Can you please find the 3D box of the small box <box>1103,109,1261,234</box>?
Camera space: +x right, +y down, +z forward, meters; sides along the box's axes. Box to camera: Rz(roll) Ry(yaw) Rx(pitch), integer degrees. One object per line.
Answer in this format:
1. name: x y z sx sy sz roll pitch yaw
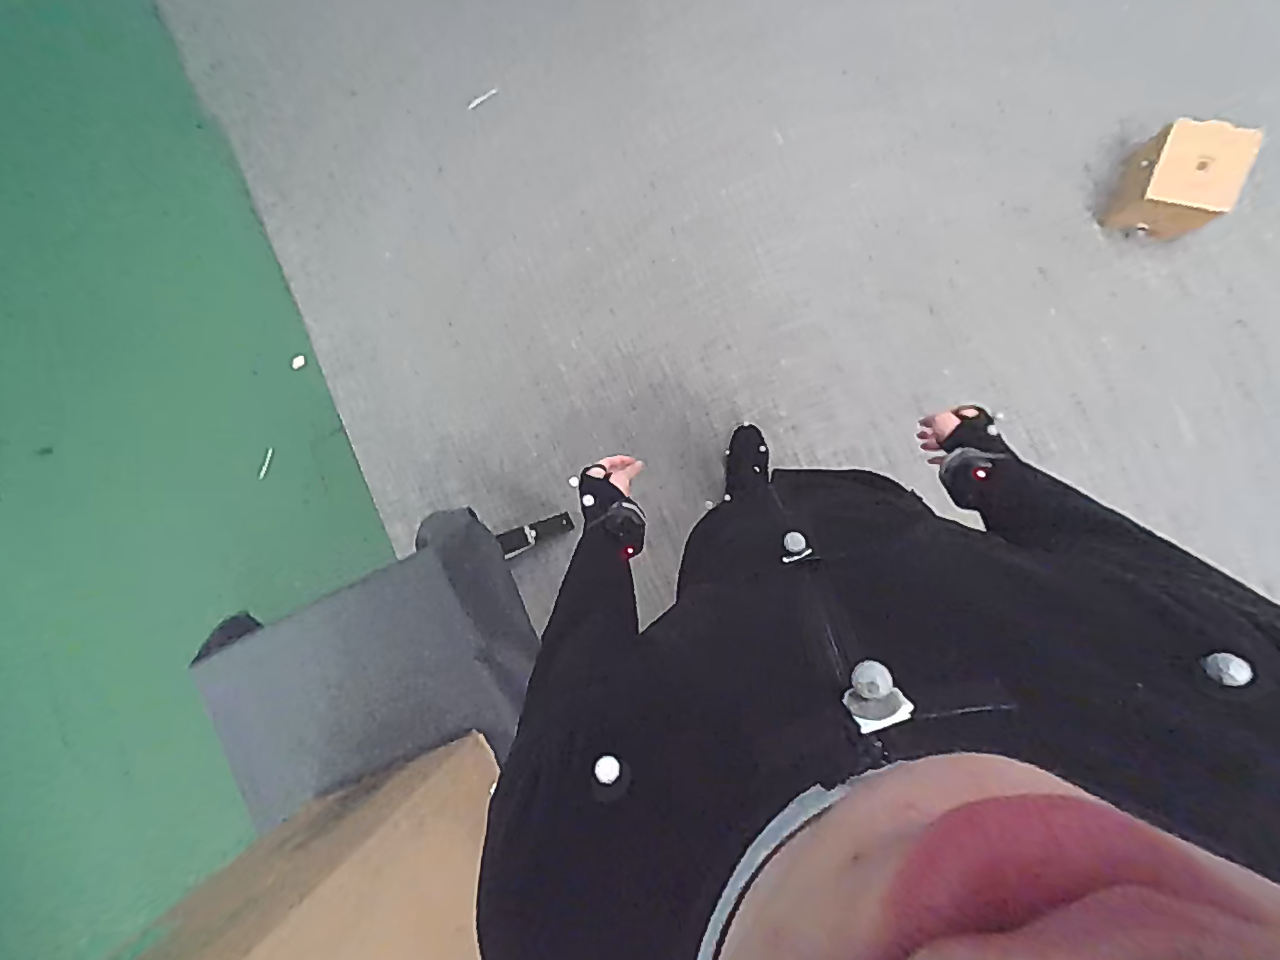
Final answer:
1. small box: 1.209 -0.690 1.225 0.168 0.176 0.179 18 98 12
